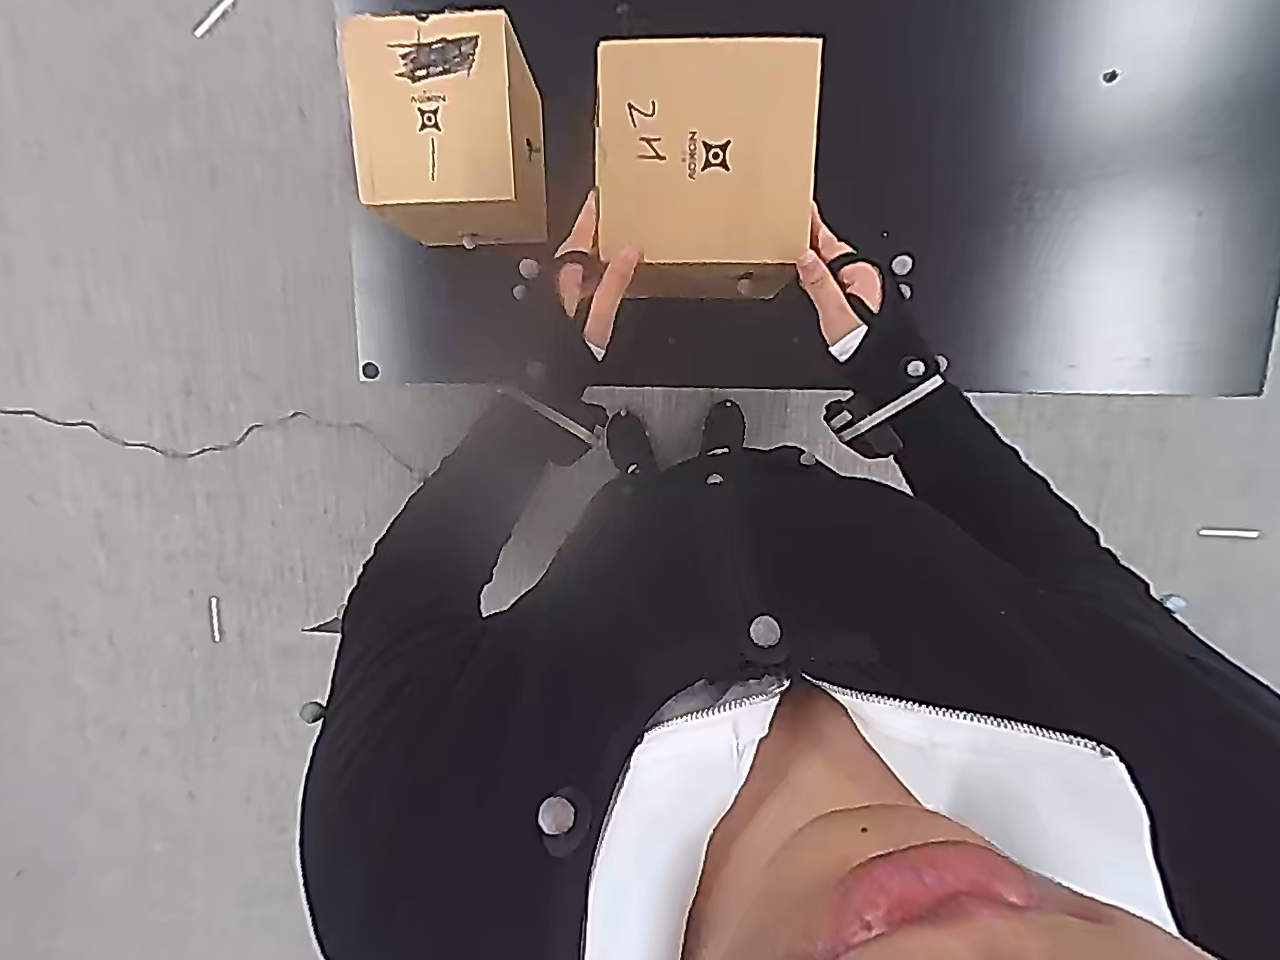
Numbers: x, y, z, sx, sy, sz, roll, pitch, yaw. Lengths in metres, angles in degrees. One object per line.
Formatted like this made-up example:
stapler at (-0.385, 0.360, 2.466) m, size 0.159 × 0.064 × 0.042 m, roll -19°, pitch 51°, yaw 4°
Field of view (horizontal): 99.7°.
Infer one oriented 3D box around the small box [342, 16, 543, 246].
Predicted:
small box at (-0.212, -0.385, 0.627) m, size 0.168 × 0.176 × 0.179 m, roll -1°, pitch 101°, yaw 2°

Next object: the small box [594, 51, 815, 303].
small box at (0.052, -0.268, 0.516) m, size 0.179 × 0.176 × 0.168 m, roll 1°, pitch 99°, yaw 3°
